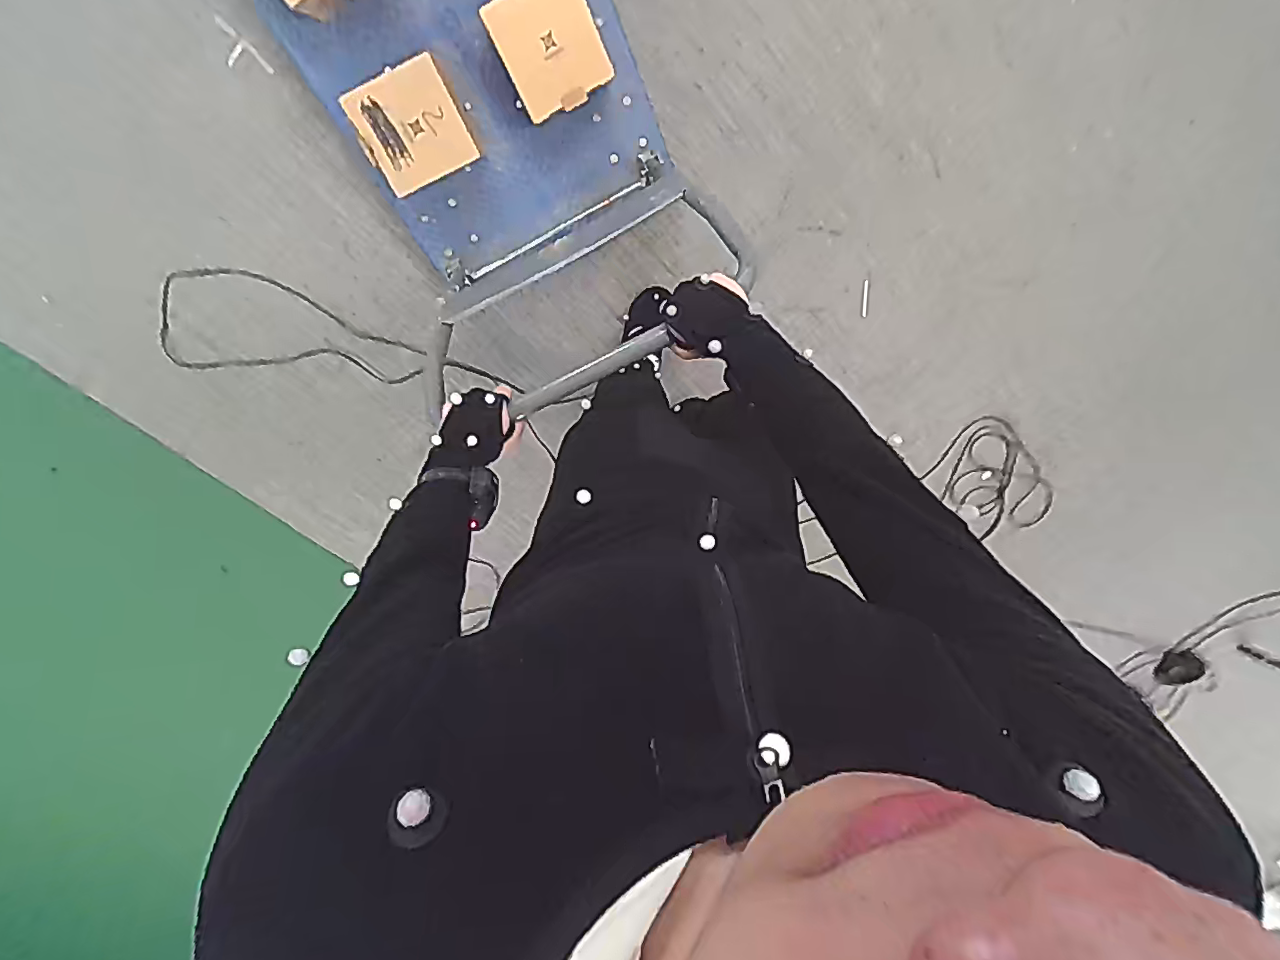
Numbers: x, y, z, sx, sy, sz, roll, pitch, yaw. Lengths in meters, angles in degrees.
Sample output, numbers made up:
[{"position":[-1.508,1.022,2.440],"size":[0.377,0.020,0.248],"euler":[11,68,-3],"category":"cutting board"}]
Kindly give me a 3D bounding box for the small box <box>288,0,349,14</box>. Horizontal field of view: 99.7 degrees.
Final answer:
[{"position":[-0.516,-0.867,0.837],"size":[0.168,0.176,0.179],"euler":[-30,124,10],"category":"small box"}]

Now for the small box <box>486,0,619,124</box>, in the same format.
[{"position":[-0.155,-0.772,0.969],"size":[0.168,0.176,0.179],"euler":[-26,126,8],"category":"small box"}]
